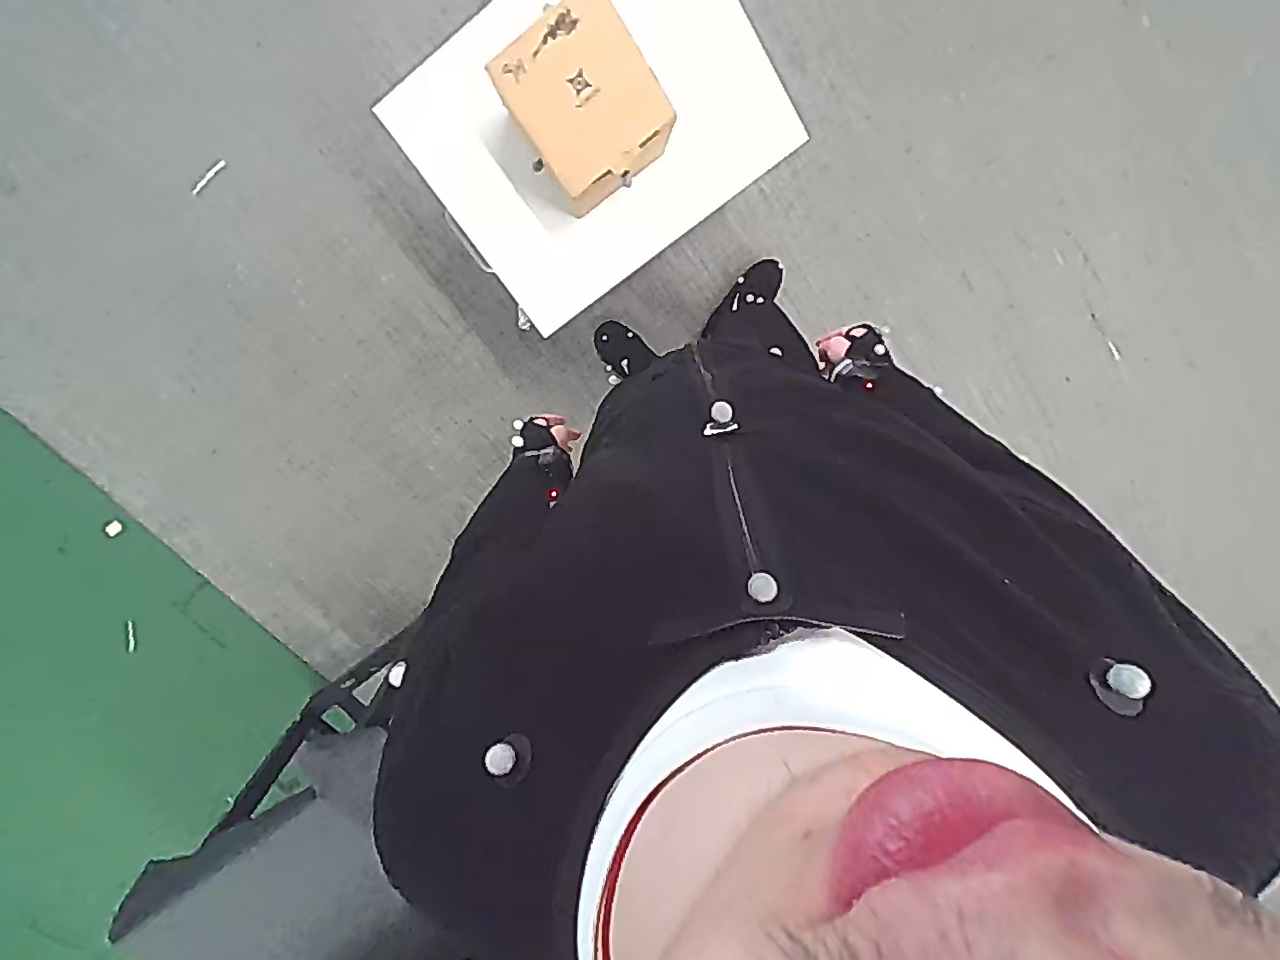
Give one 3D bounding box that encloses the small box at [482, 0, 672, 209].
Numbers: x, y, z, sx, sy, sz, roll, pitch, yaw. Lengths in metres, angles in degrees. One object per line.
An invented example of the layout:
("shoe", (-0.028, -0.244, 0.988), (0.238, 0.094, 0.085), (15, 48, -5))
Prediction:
("small box", (-0.076, -0.491, 0.726), (0.168, 0.176, 0.179), (-37, 106, 9))
